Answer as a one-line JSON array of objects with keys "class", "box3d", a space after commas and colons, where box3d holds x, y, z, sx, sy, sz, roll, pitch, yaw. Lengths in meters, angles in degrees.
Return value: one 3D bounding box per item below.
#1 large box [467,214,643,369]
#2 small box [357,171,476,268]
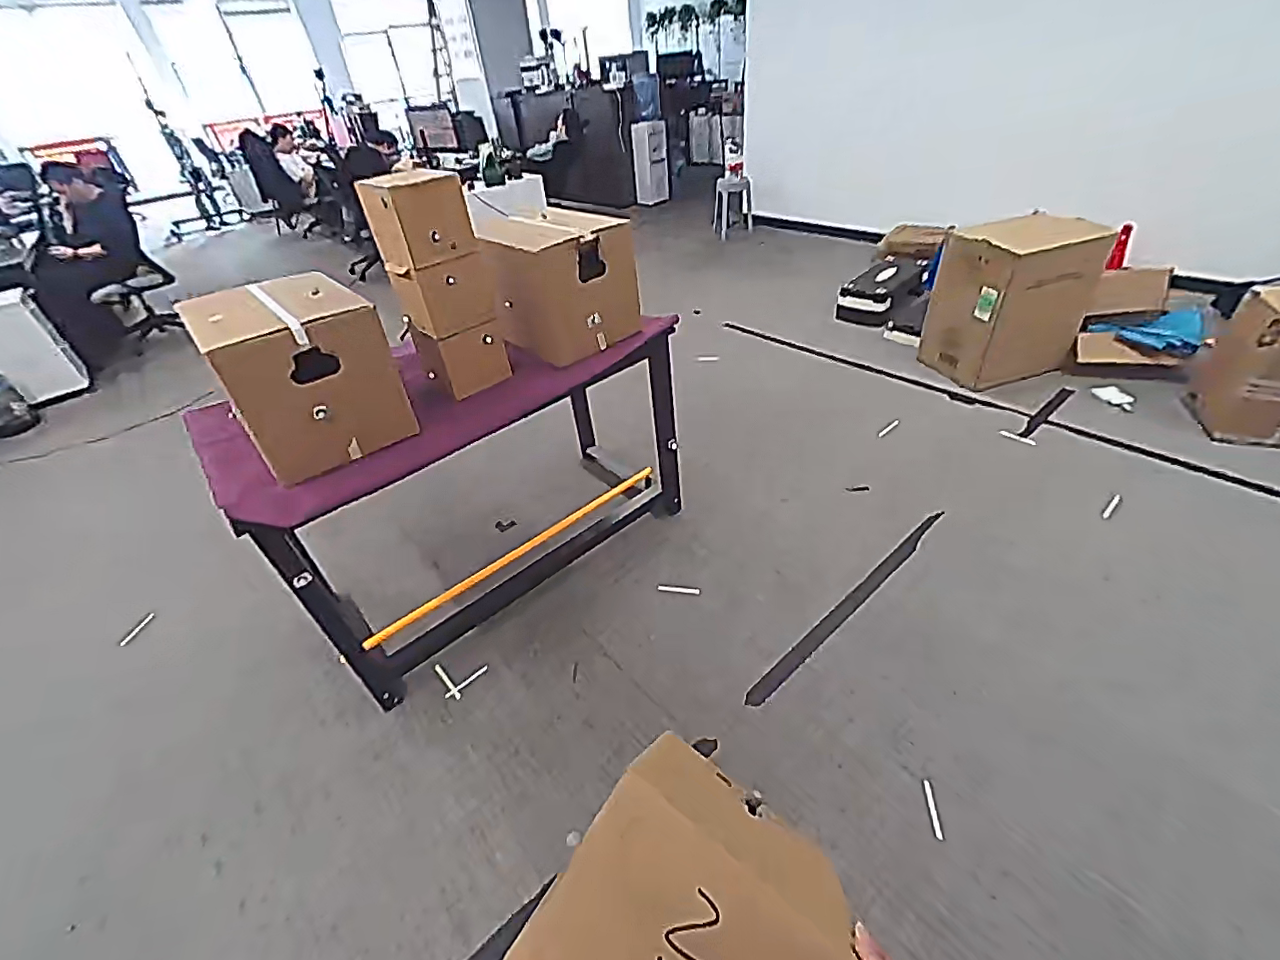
[{"class": "large box", "box3d": [-0.247, -0.561, 1.575, 0.320, 0.320, 0.408, -32, 43, -29]}, {"class": "small box", "box3d": [-0.505, -0.595, 1.234, 0.179, 0.176, 0.168, 28, 49, 35]}]
